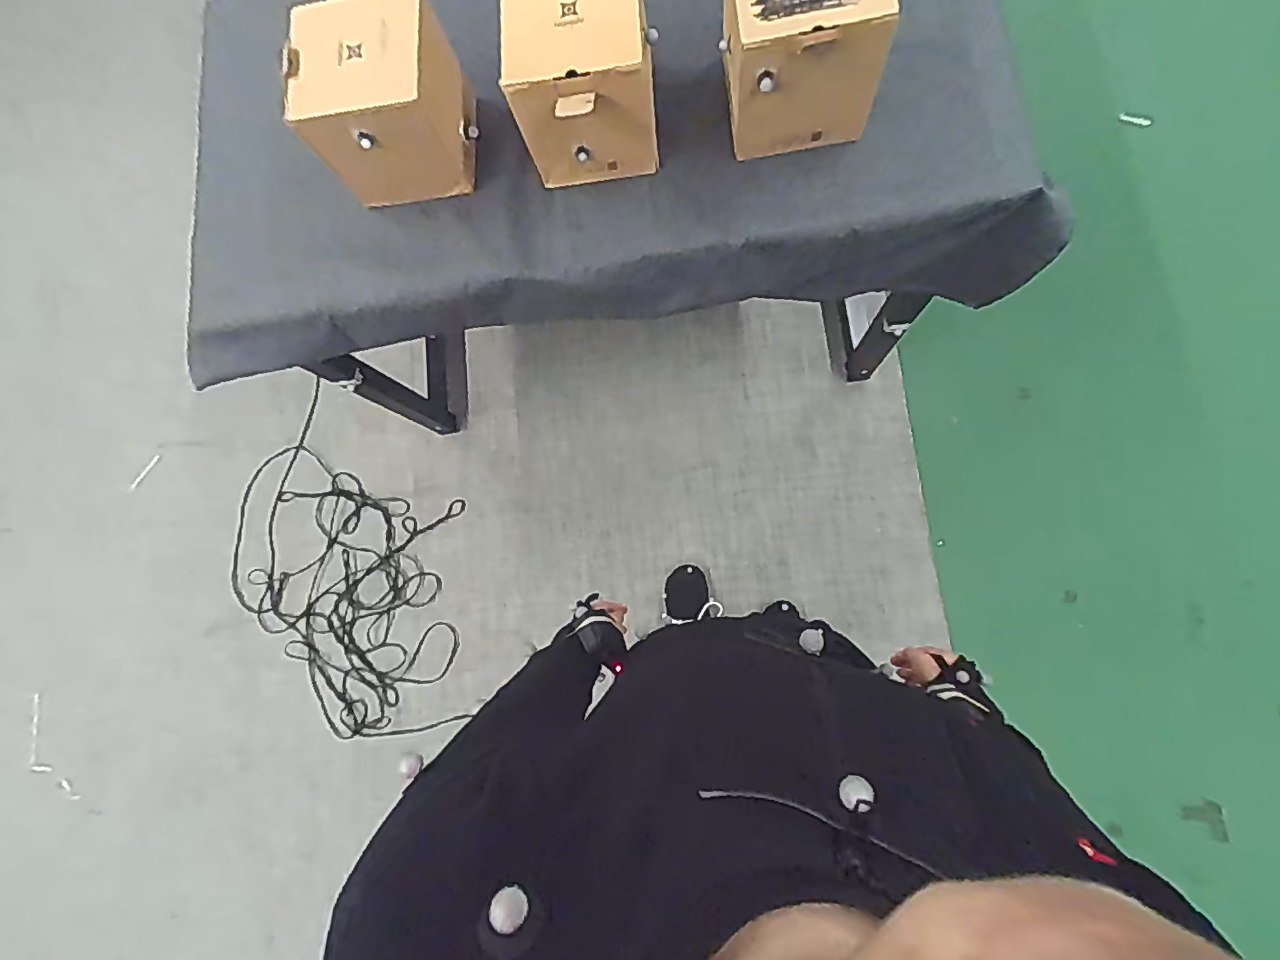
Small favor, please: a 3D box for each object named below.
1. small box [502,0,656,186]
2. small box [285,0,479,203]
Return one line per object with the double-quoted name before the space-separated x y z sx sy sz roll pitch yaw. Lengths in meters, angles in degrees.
"small box" -0.071 -0.523 0.701 0.168 0.176 0.179 -5 80 7
"small box" -0.338 -0.505 0.735 0.179 0.176 0.168 -4 81 6
